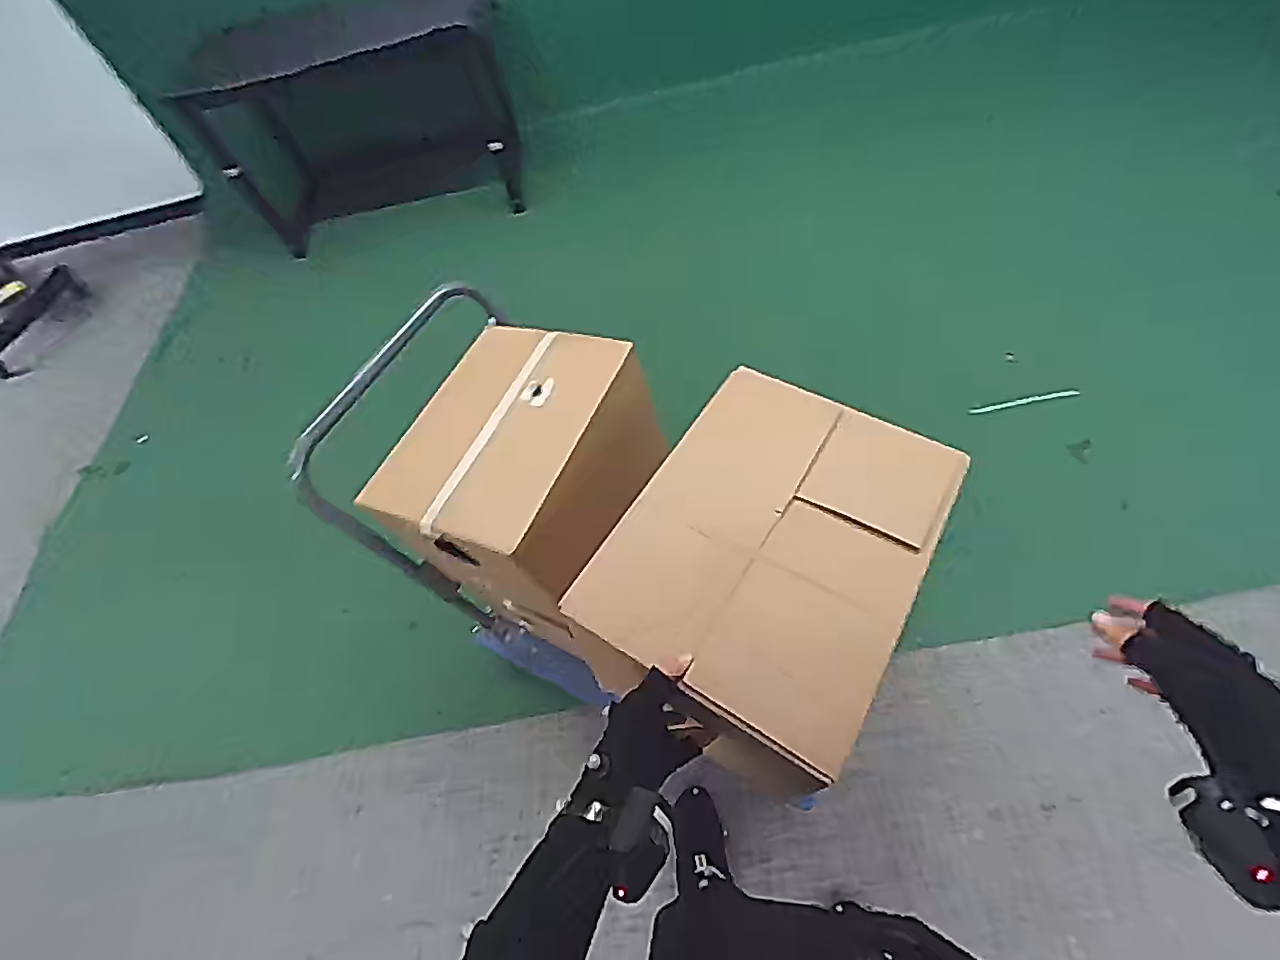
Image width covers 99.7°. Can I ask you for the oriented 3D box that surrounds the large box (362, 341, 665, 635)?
[{"bbox_3d":[-0.191,0.009,0.985,0.320,0.320,0.408,13,60,24],"label":"large box"}]
